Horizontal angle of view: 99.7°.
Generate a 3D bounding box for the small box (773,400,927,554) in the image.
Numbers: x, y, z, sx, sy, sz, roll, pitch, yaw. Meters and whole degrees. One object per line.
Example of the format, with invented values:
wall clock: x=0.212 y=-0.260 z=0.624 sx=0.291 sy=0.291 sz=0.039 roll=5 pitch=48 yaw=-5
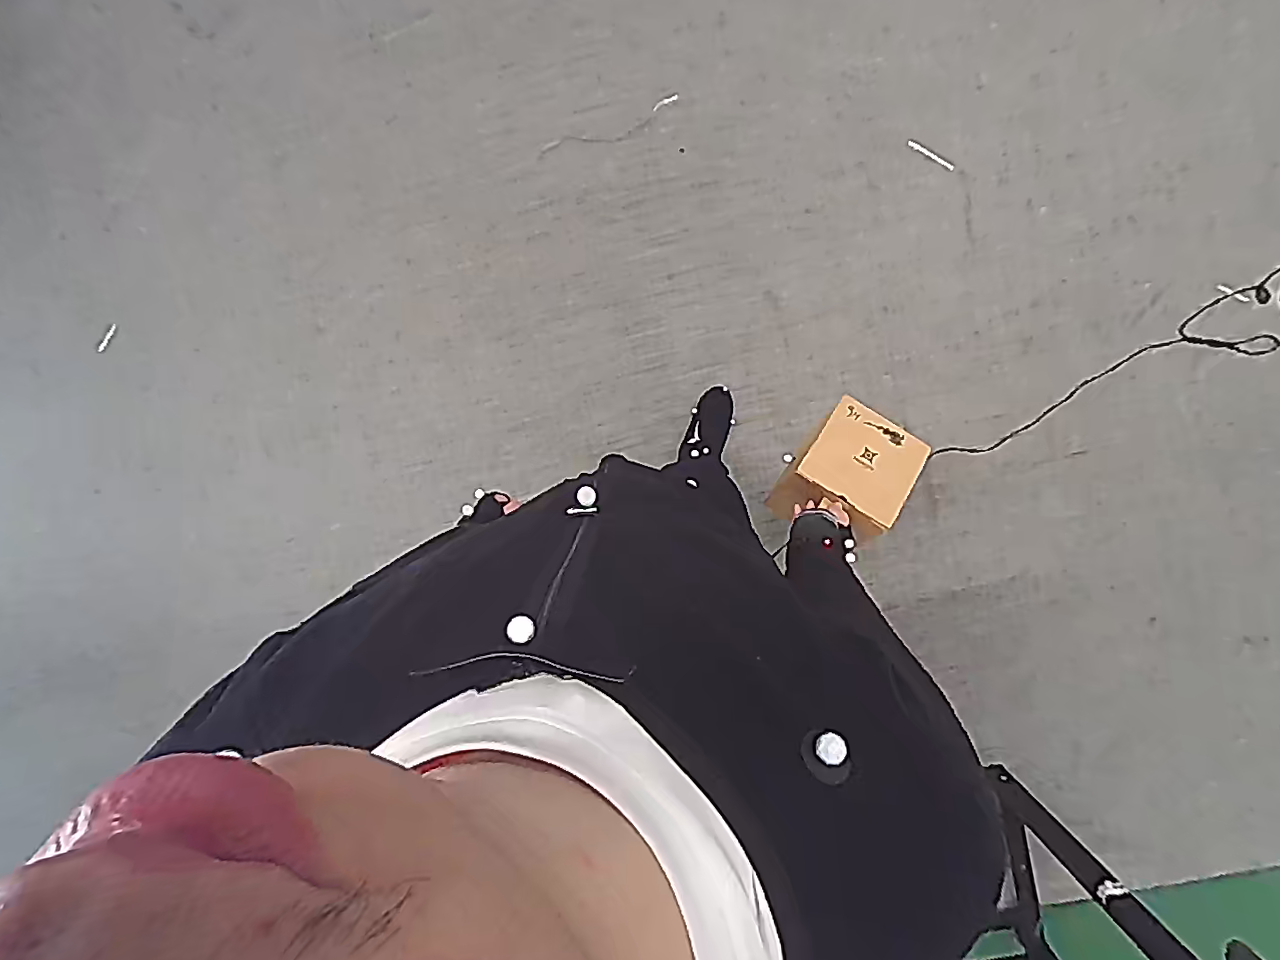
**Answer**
small box: x=0.350 y=0.004 z=0.936 sx=0.168 sy=0.176 sz=0.179 roll=32 pitch=68 yaw=9
